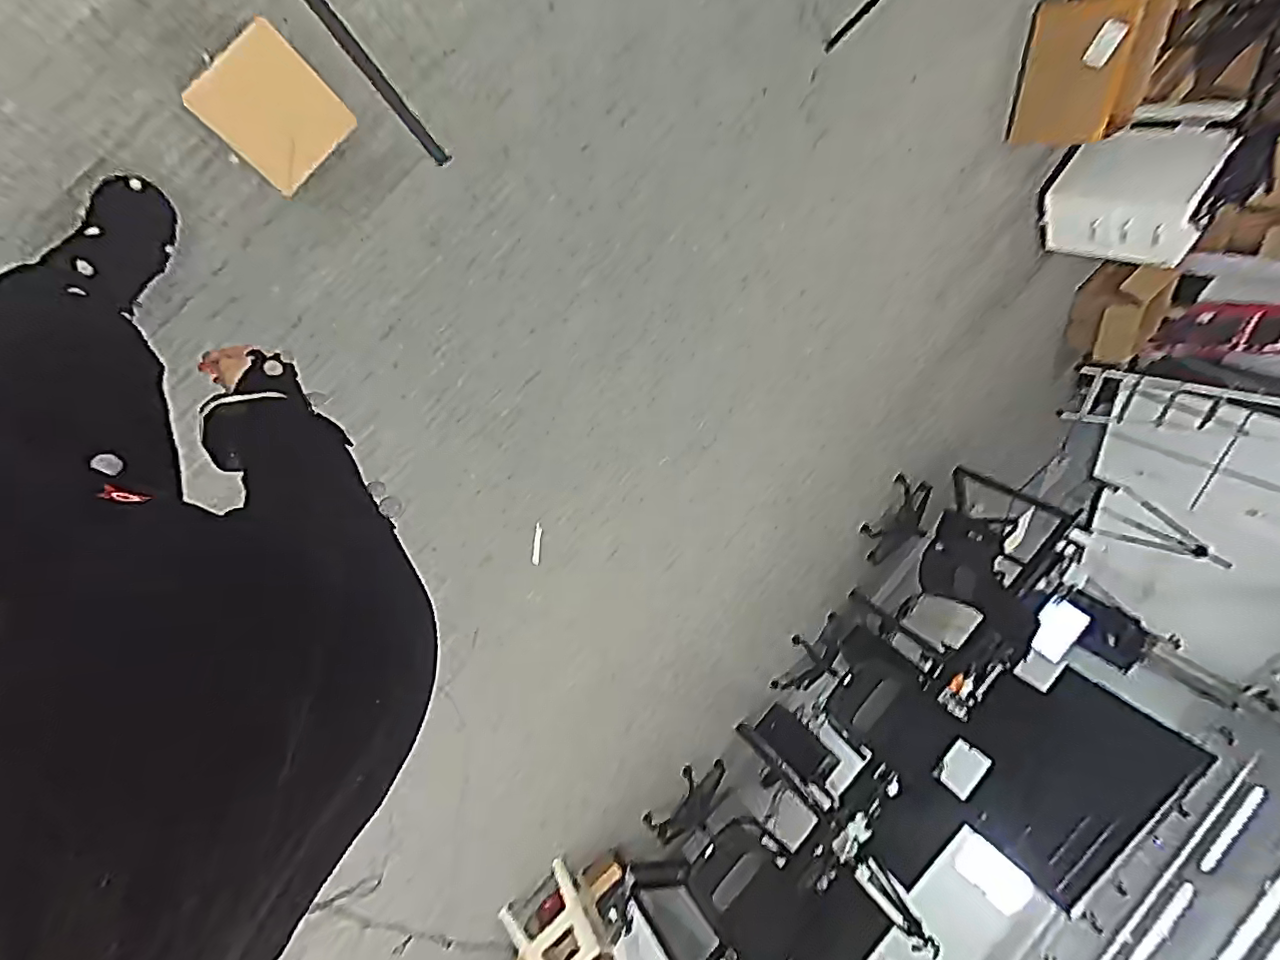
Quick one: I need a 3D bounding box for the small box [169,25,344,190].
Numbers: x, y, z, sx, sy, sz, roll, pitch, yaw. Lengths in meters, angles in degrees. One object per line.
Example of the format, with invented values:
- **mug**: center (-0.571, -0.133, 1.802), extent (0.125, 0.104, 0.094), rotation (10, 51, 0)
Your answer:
- **small box**: center (-0.626, -0.606, 0.892), extent (0.179, 0.176, 0.168), rotation (-49, 137, -5)
